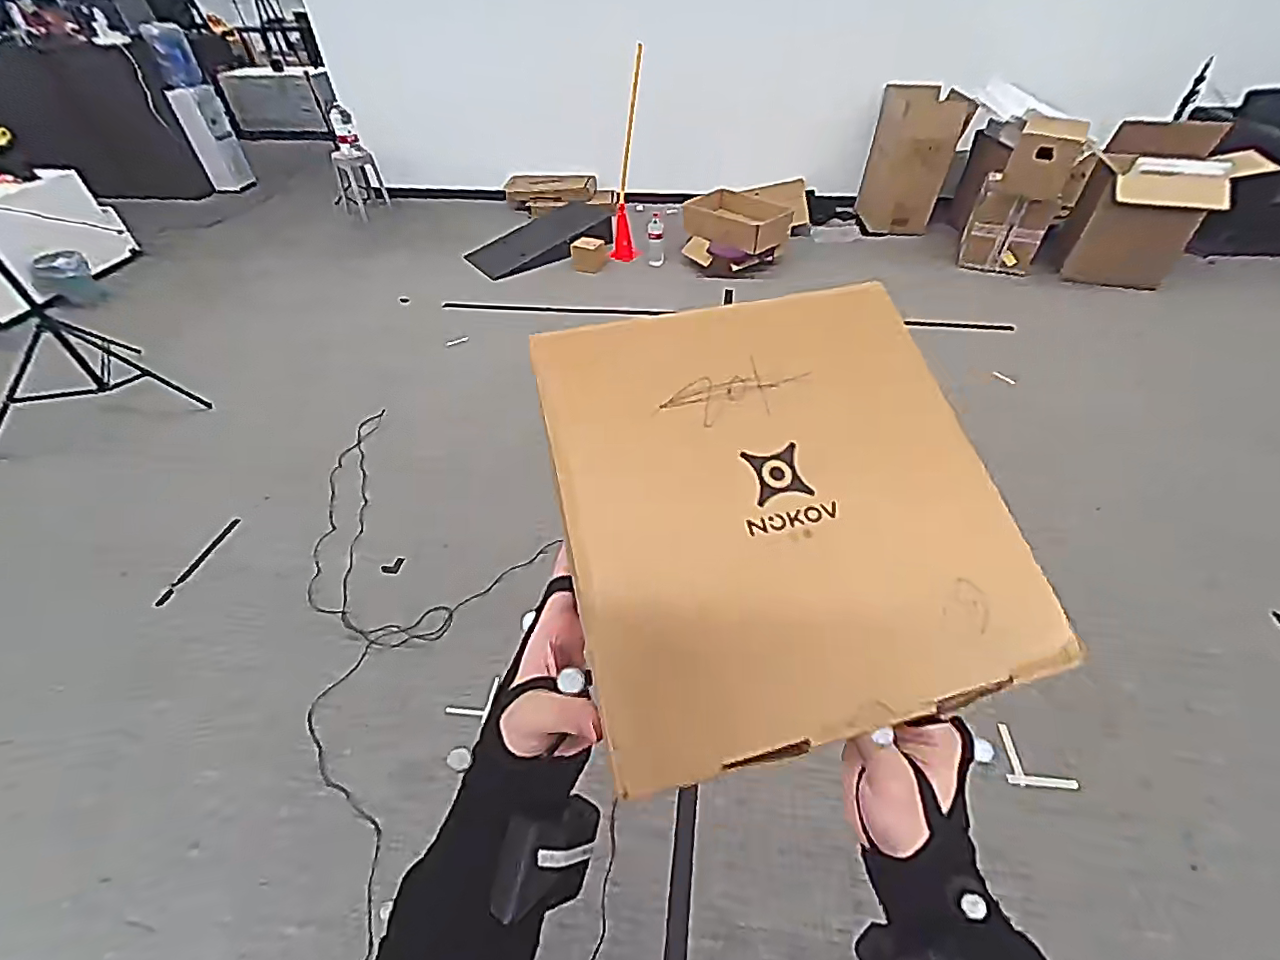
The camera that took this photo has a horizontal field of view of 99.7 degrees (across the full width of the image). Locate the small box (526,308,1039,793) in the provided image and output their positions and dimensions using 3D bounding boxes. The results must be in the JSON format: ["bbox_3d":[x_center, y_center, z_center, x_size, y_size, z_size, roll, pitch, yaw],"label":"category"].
[{"bbox_3d":[0.043,0.042,0.290,0.168,0.176,0.179,-12,65,-10],"label":"small box"}]
